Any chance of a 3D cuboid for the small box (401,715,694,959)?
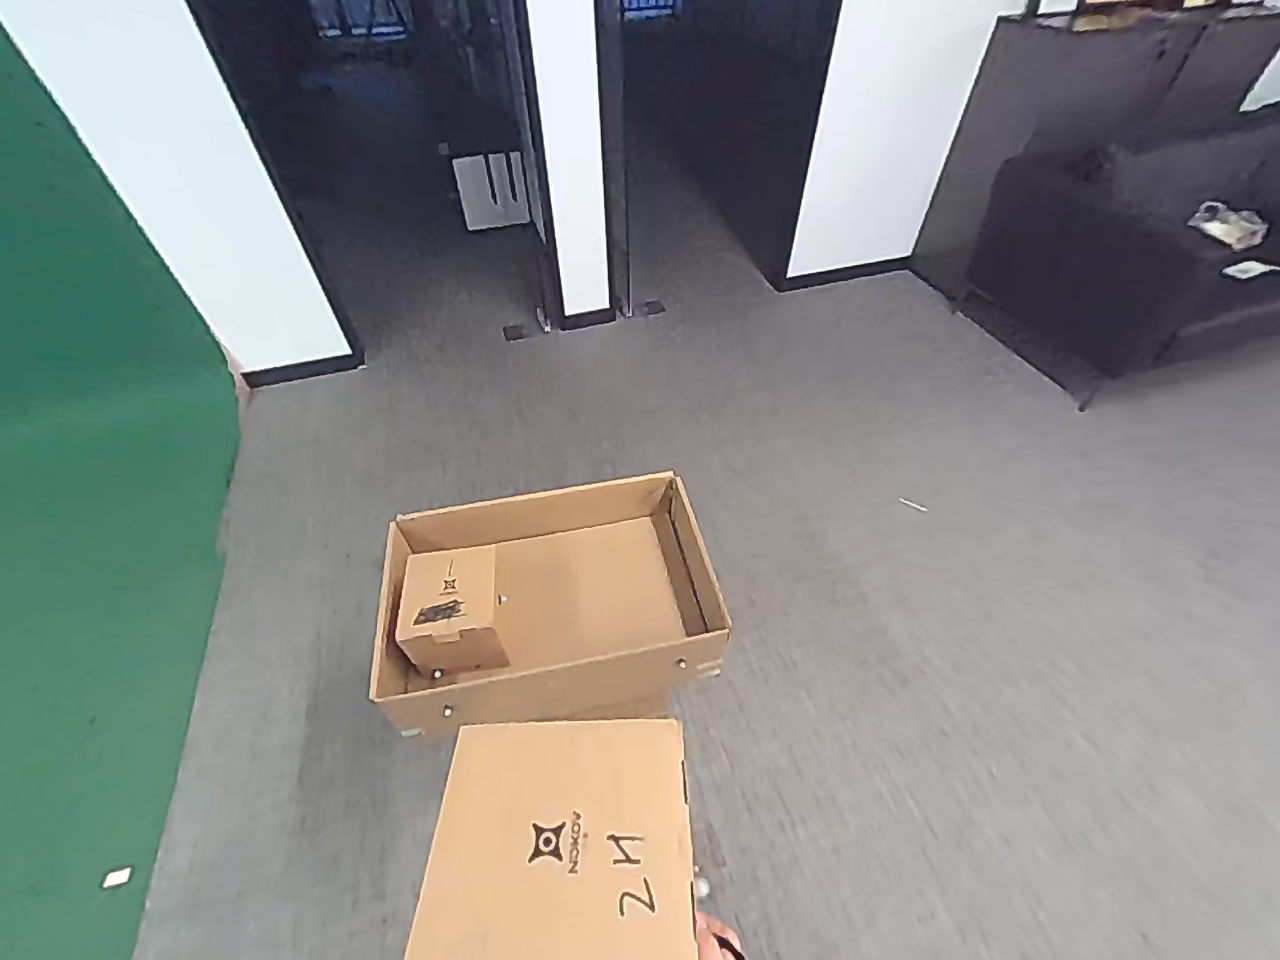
[{"bbox_3d":[-0.052,0.301,0.418,0.179,0.176,0.168,-1,41,0],"label":"small box"}]
